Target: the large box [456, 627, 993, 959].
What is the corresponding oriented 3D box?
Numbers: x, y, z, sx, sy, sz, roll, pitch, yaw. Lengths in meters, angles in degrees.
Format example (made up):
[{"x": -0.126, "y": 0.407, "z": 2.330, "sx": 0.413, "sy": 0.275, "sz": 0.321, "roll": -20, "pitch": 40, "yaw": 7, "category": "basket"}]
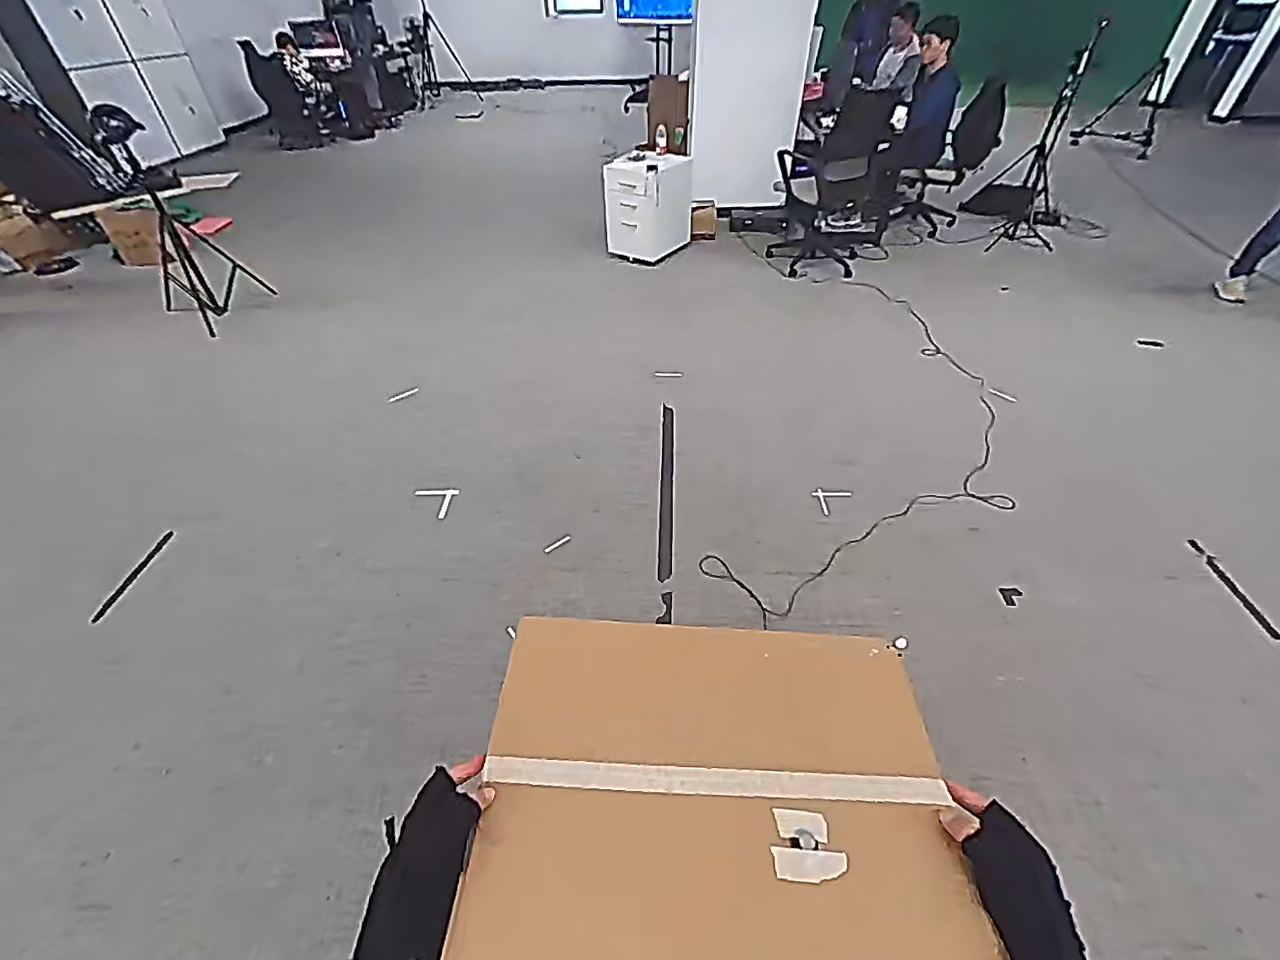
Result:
[{"x": 0.058, "y": 0.384, "z": 0.578, "sx": 0.408, "sy": 0.320, "sz": 0.320, "roll": 4, "pitch": 42, "yaw": -1, "category": "large box"}]
